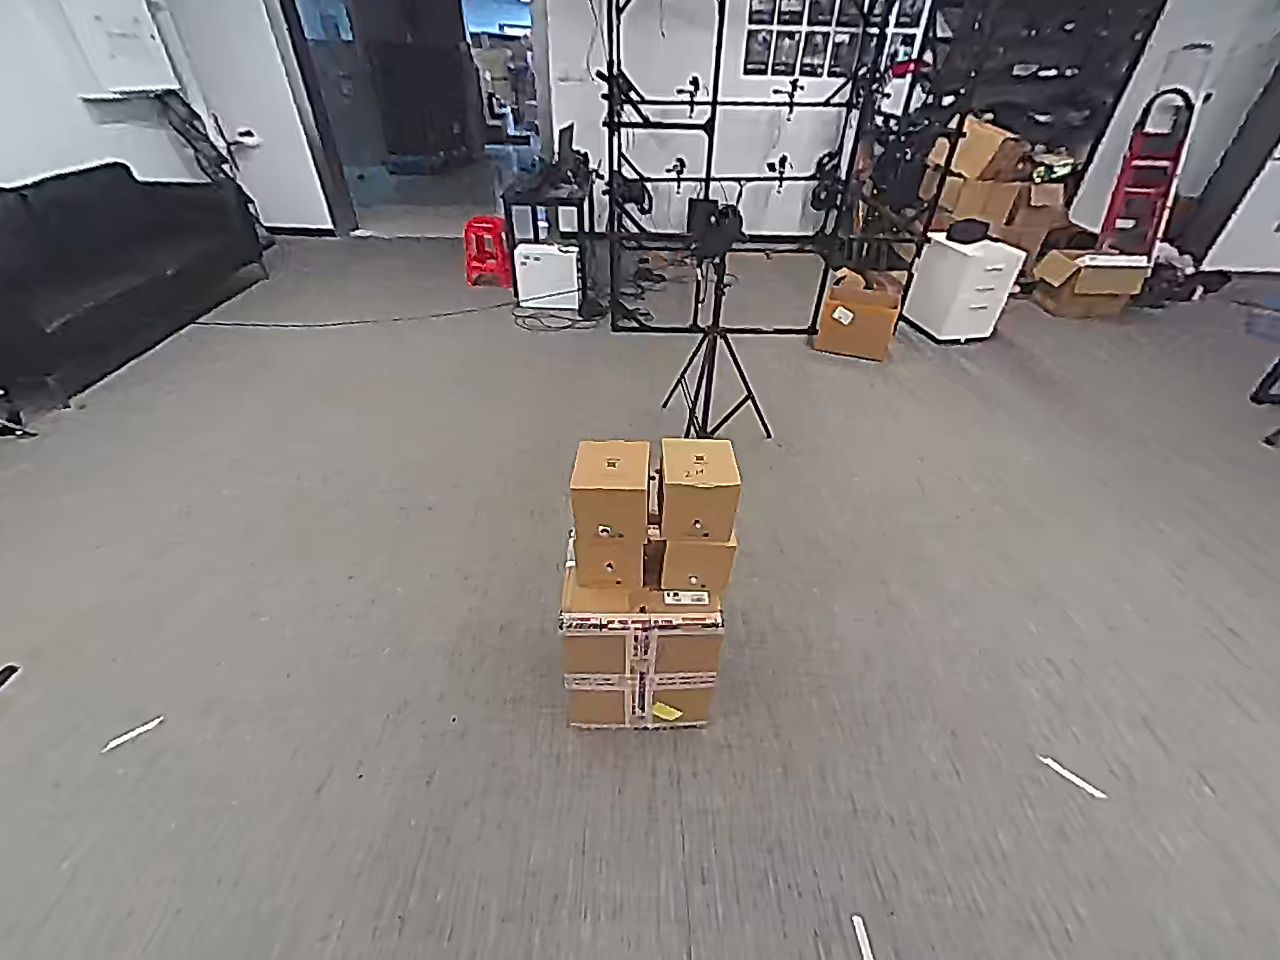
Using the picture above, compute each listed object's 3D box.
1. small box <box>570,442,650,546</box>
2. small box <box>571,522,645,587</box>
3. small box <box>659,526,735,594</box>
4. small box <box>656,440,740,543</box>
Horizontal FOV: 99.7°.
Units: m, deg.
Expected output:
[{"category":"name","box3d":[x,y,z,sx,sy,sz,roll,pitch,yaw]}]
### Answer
[{"category":"small box","box3d":[-0.062,0.031,1.247,0.168,0.176,0.179,0,40,2]},{"category":"small box","box3d":[-0.072,0.153,1.357,0.168,0.176,0.179,1,40,2]},{"category":"small box","box3d":[0.136,0.161,1.356,0.168,0.176,0.179,3,40,-1]},{"category":"small box","box3d":[0.127,0.025,1.261,0.168,0.176,0.179,1,39,-2]}]
